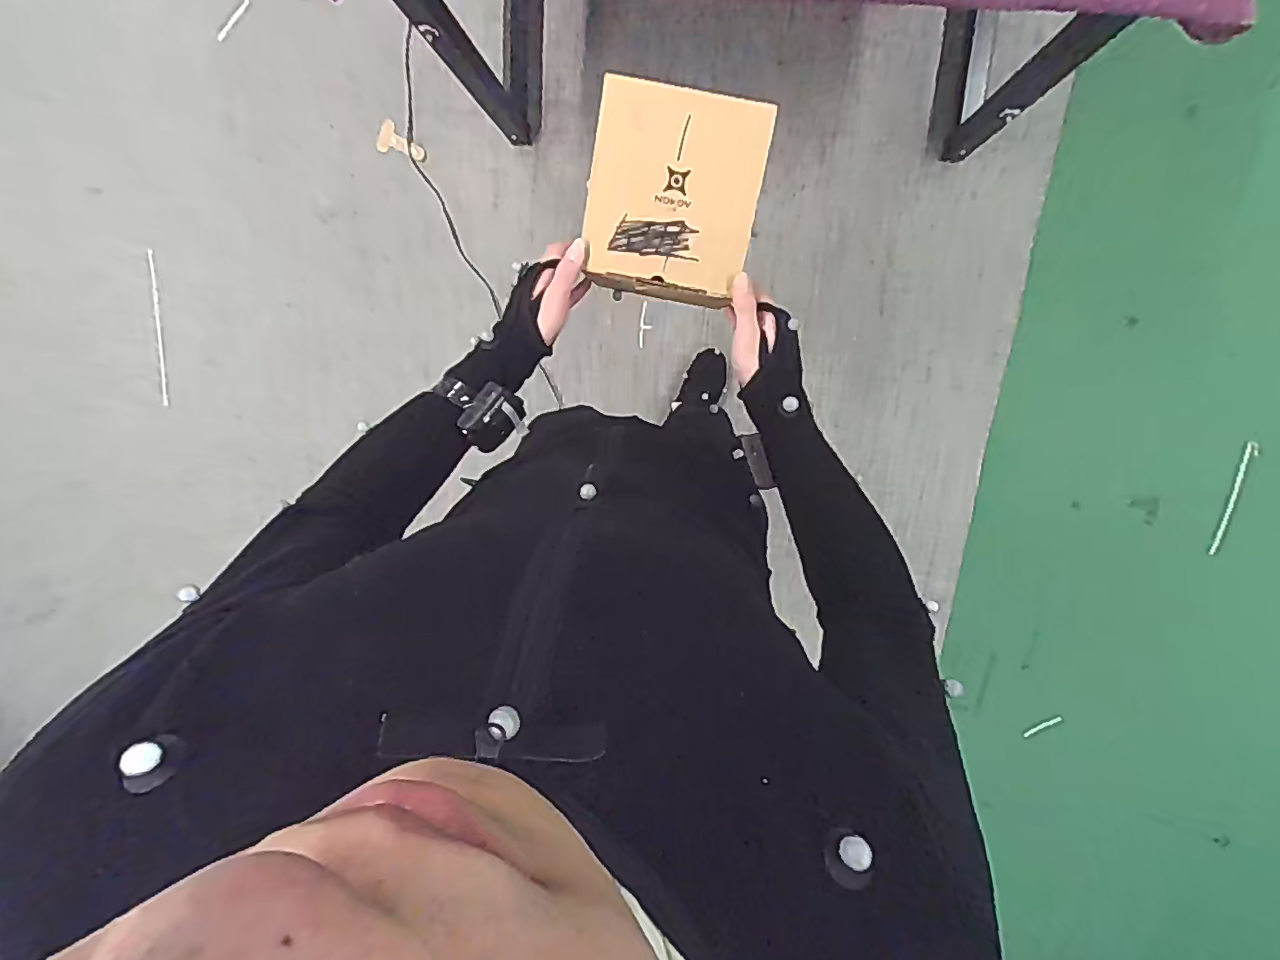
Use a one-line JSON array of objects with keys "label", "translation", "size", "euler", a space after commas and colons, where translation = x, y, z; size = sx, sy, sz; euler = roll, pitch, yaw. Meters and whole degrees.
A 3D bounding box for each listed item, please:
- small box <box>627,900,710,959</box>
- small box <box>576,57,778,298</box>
[{"label": "small box", "translation": [0.057, 1.058, 1.155], "size": [0.168, 0.176, 0.179], "euler": [10, 103, 2]}, {"label": "small box", "translation": [0.036, -0.308, 0.593], "size": [0.168, 0.176, 0.179], "euler": [11, 103, -1]}]
